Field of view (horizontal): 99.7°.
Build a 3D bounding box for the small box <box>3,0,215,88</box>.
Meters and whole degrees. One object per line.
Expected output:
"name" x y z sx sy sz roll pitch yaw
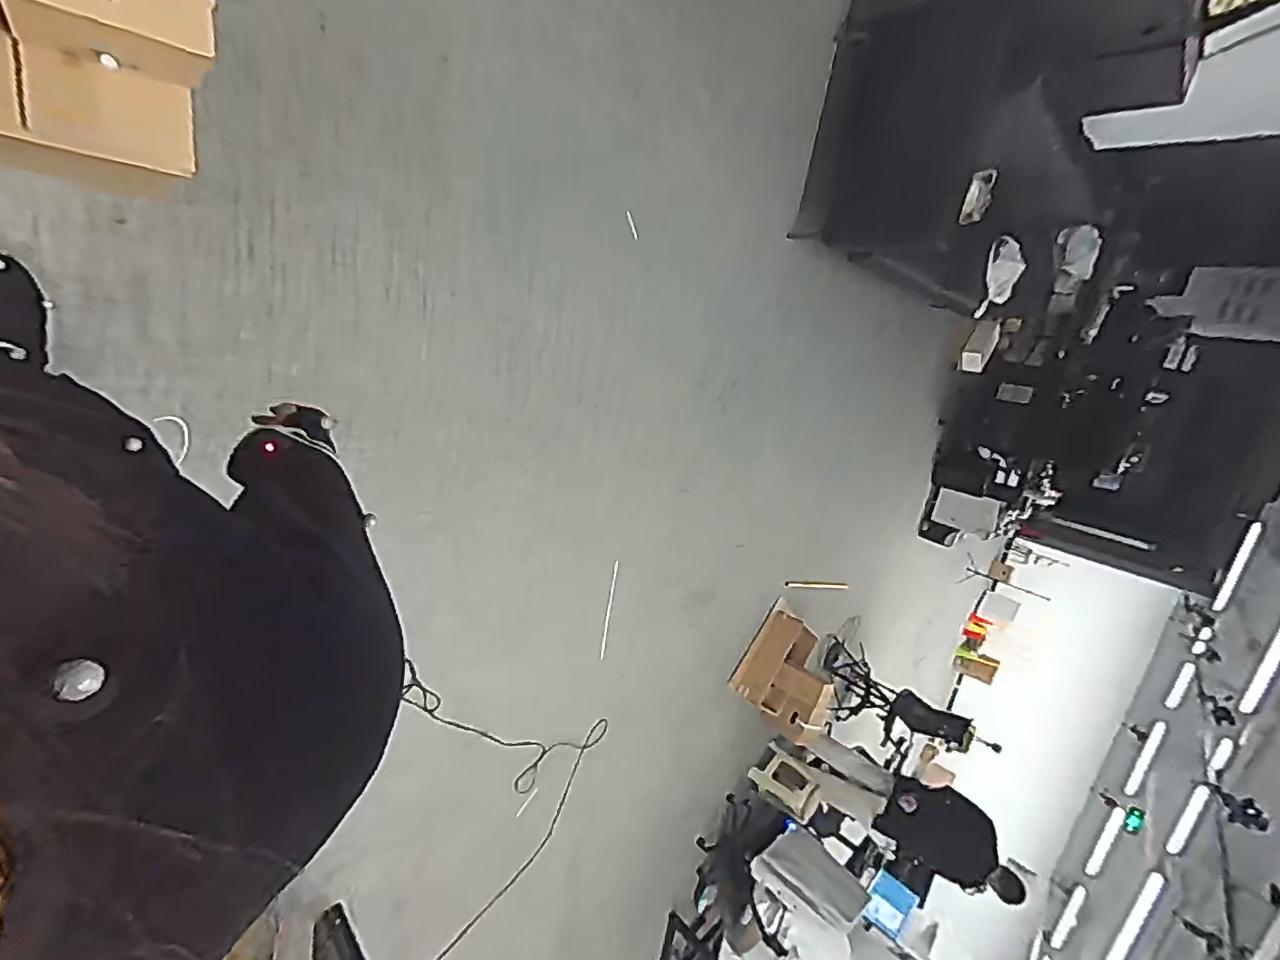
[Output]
"small box" -0.586 -0.568 0.589 0.168 0.176 0.179 -8 114 -43
